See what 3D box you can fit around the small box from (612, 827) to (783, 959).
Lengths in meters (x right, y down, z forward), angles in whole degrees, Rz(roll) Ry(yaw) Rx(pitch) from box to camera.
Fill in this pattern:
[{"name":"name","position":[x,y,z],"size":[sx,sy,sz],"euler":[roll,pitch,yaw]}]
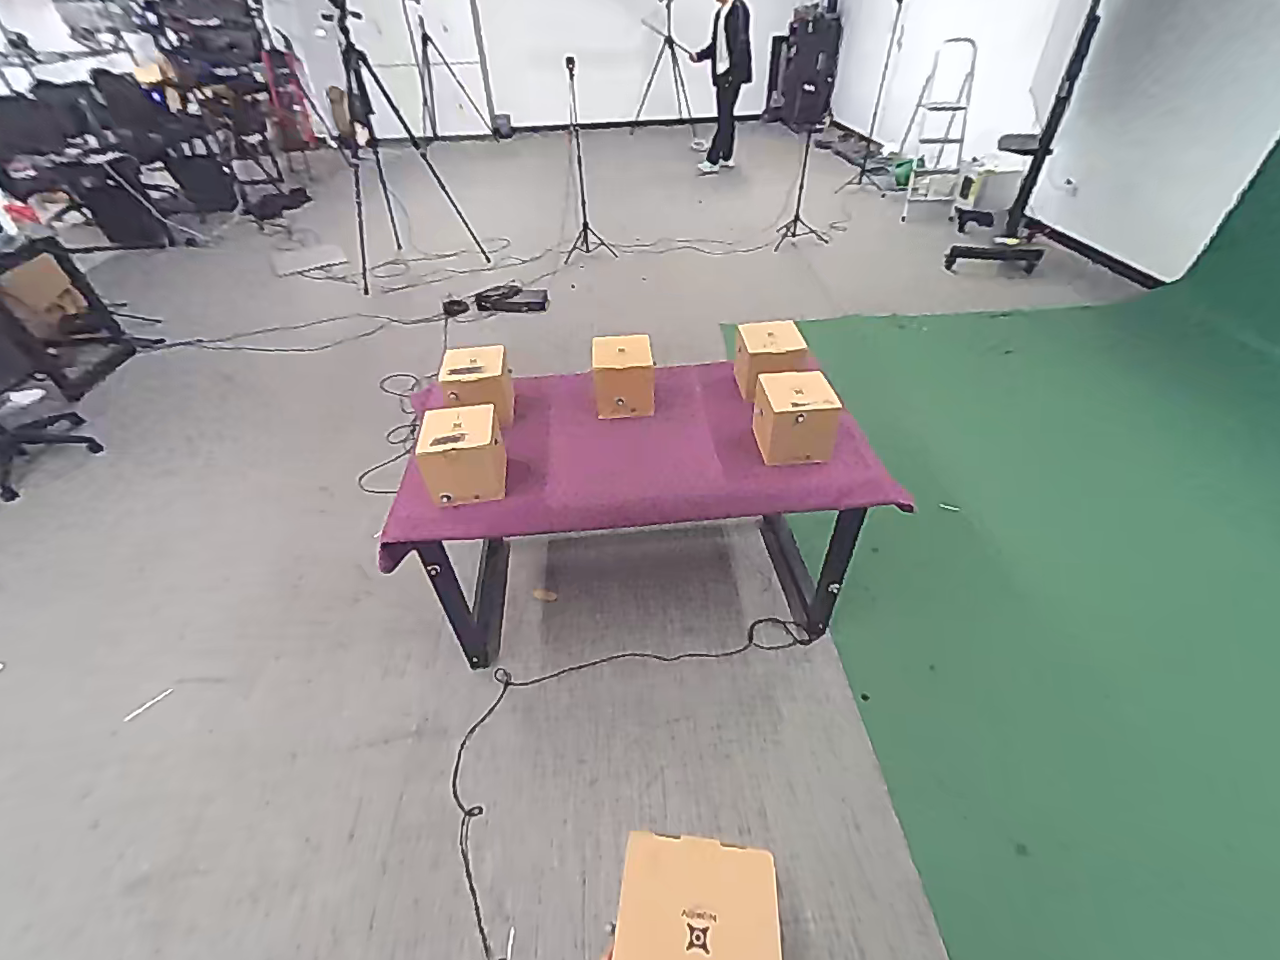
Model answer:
[{"name":"small box","position":[0.054,0.516,0.578],"size":[0.168,0.176,0.179],"euler":[6,32,4]}]

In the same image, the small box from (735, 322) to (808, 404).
[{"name":"small box","position":[0.376,-0.343,1.586],"size":[0.168,0.176,0.179],"euler":[-5,43,0]}]

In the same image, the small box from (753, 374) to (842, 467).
[{"name":"small box","position":[0.390,-0.152,1.375],"size":[0.168,0.176,0.179],"euler":[-4,40,-1]}]

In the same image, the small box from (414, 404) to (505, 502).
[{"name":"small box","position":[-0.423,-0.060,1.297],"size":[0.168,0.176,0.179],"euler":[-7,40,-6]}]

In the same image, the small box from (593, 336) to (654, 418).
[{"name":"small box","position":[-0.049,-0.296,1.554],"size":[0.168,0.176,0.179],"euler":[-3,43,-3]}]
